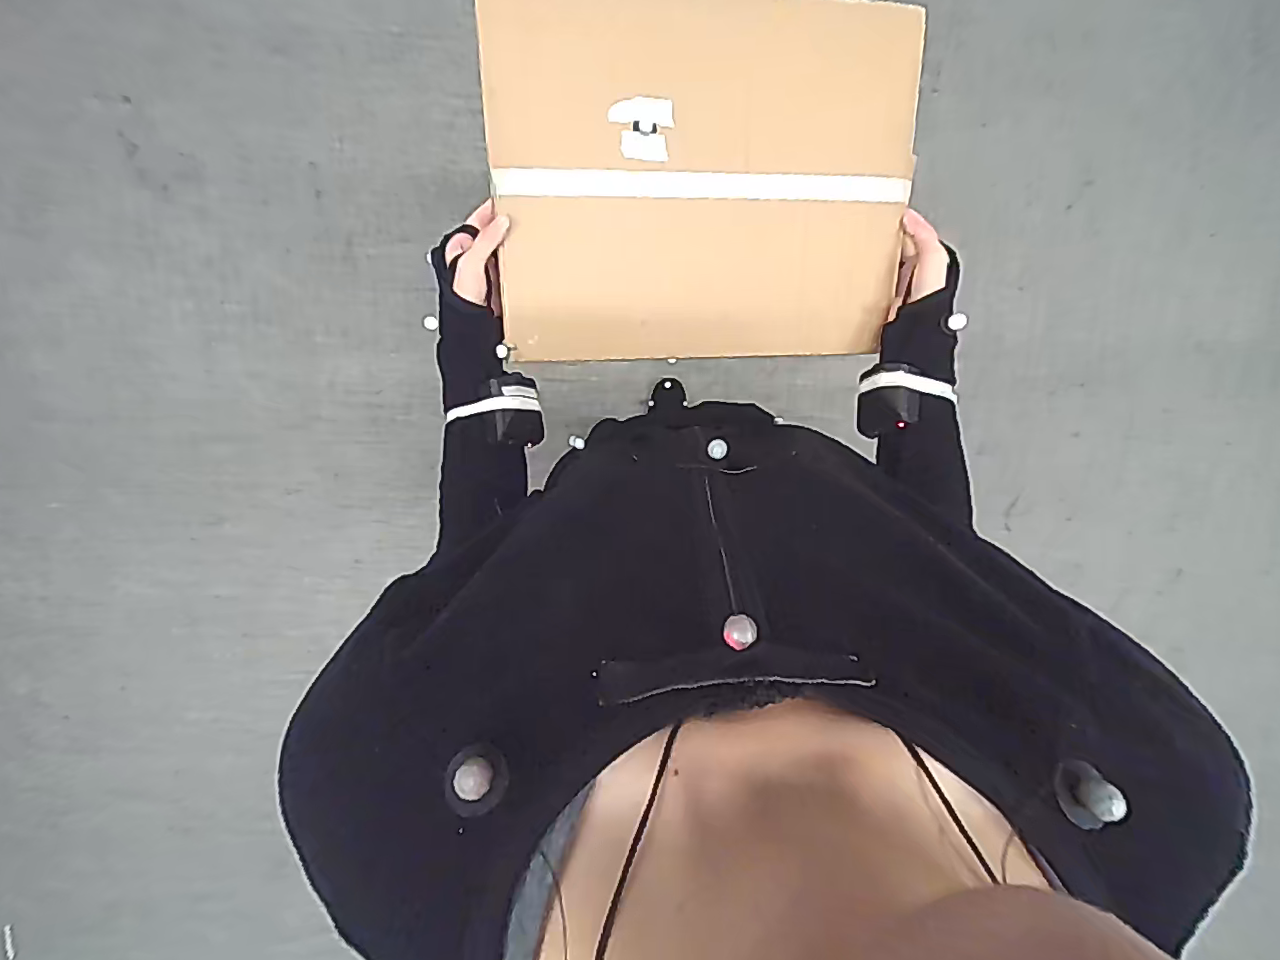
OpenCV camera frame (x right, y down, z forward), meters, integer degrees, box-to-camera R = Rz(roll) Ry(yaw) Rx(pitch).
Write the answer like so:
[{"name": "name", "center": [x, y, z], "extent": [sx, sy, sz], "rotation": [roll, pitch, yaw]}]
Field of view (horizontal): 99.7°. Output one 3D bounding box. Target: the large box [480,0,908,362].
[{"name": "large box", "center": [0.041, -0.324, 0.668], "extent": [0.408, 0.320, 0.320], "rotation": [-3, 107, -8]}]
